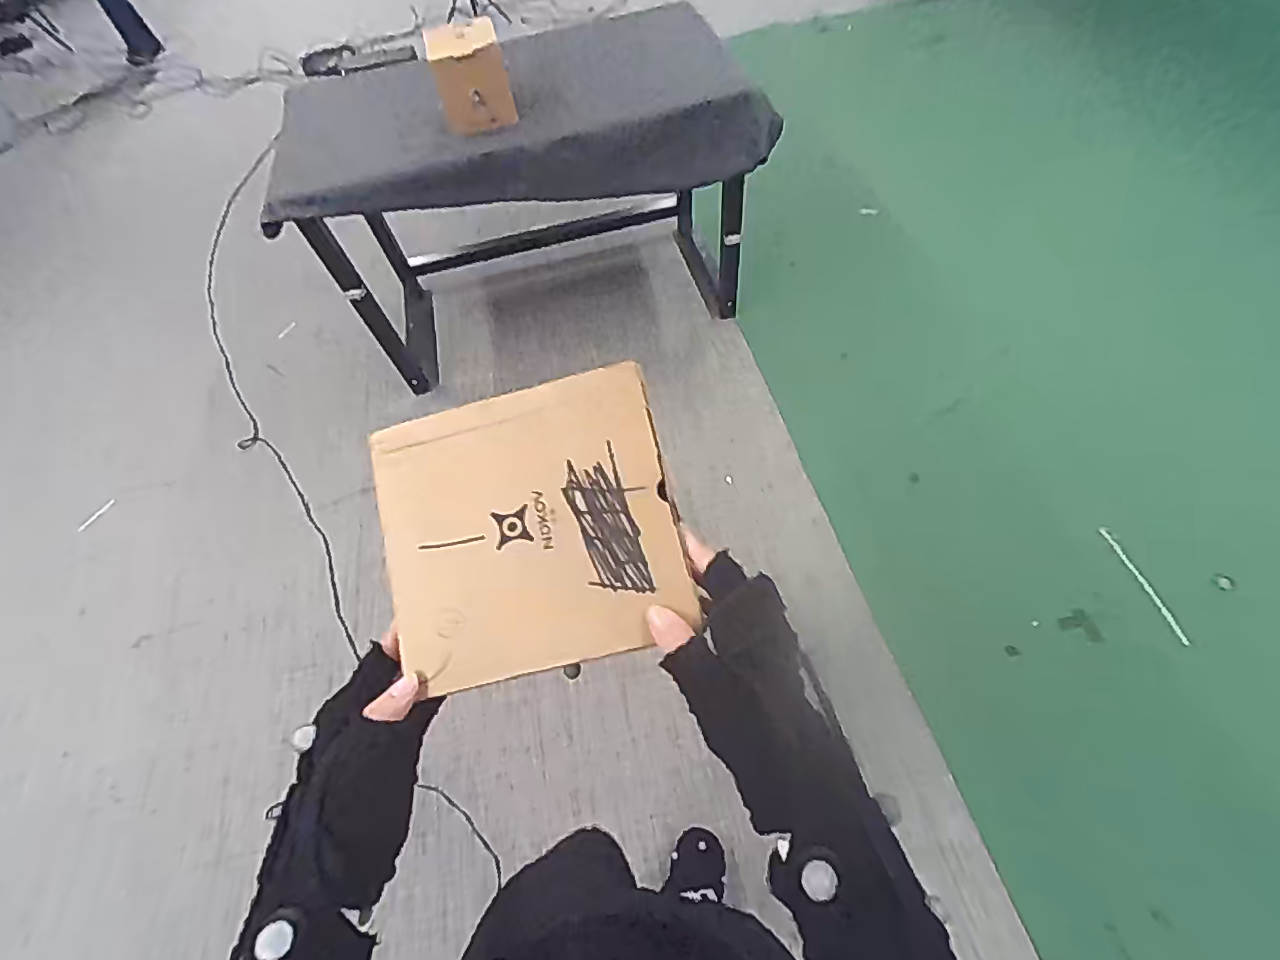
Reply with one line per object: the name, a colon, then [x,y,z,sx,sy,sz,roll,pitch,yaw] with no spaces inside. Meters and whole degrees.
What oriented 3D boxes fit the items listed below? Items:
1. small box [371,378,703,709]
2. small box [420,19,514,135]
small box: [-0.059,0.047,0.398,0.179,0.176,0.168,-15,79,3]
small box: [-0.415,-0.968,1.311,0.168,0.176,0.179,-16,59,-3]
